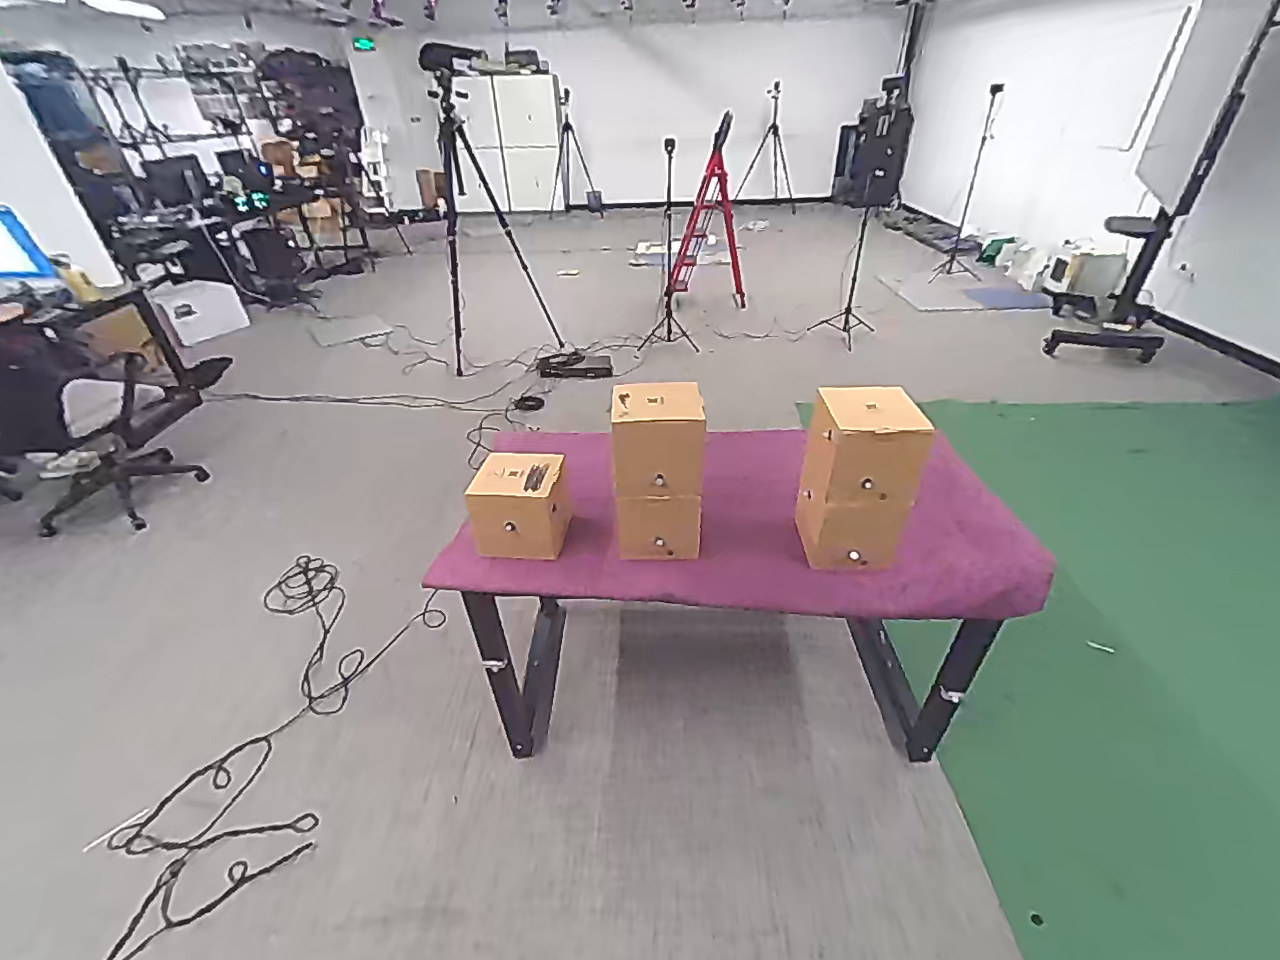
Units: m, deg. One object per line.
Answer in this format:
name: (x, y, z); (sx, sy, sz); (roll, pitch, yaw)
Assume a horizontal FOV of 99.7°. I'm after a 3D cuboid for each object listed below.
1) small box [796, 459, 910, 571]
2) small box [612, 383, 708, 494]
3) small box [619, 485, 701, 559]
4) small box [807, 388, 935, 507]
small box: (0.434, 0.070, 1.137); (0.168, 0.176, 0.179); (0, 36, 3)
small box: (0.036, -0.082, 1.081); (0.179, 0.176, 0.168); (0, 33, 0)
small box: (0.041, 0.052, 1.175); (0.168, 0.176, 0.179); (-1, 34, 1)
small box: (0.432, -0.065, 1.047); (0.168, 0.176, 0.179); (0, 35, 2)
